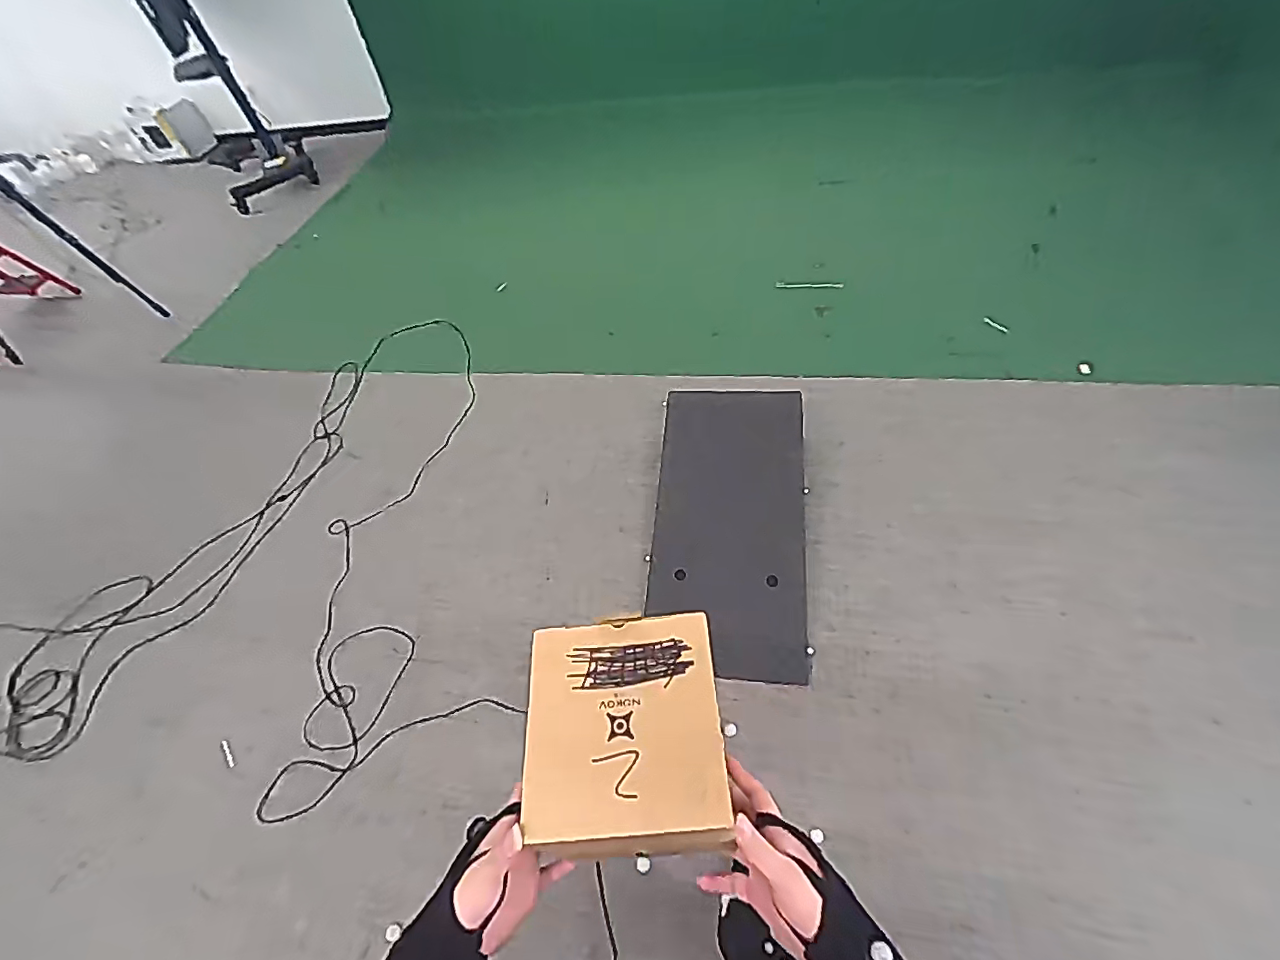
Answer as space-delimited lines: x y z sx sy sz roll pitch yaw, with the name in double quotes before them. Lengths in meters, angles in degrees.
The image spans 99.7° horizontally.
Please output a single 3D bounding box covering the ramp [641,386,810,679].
"ramp" 0.295 0.108 1.774 0.509 0.206 0.991 1 54 9
